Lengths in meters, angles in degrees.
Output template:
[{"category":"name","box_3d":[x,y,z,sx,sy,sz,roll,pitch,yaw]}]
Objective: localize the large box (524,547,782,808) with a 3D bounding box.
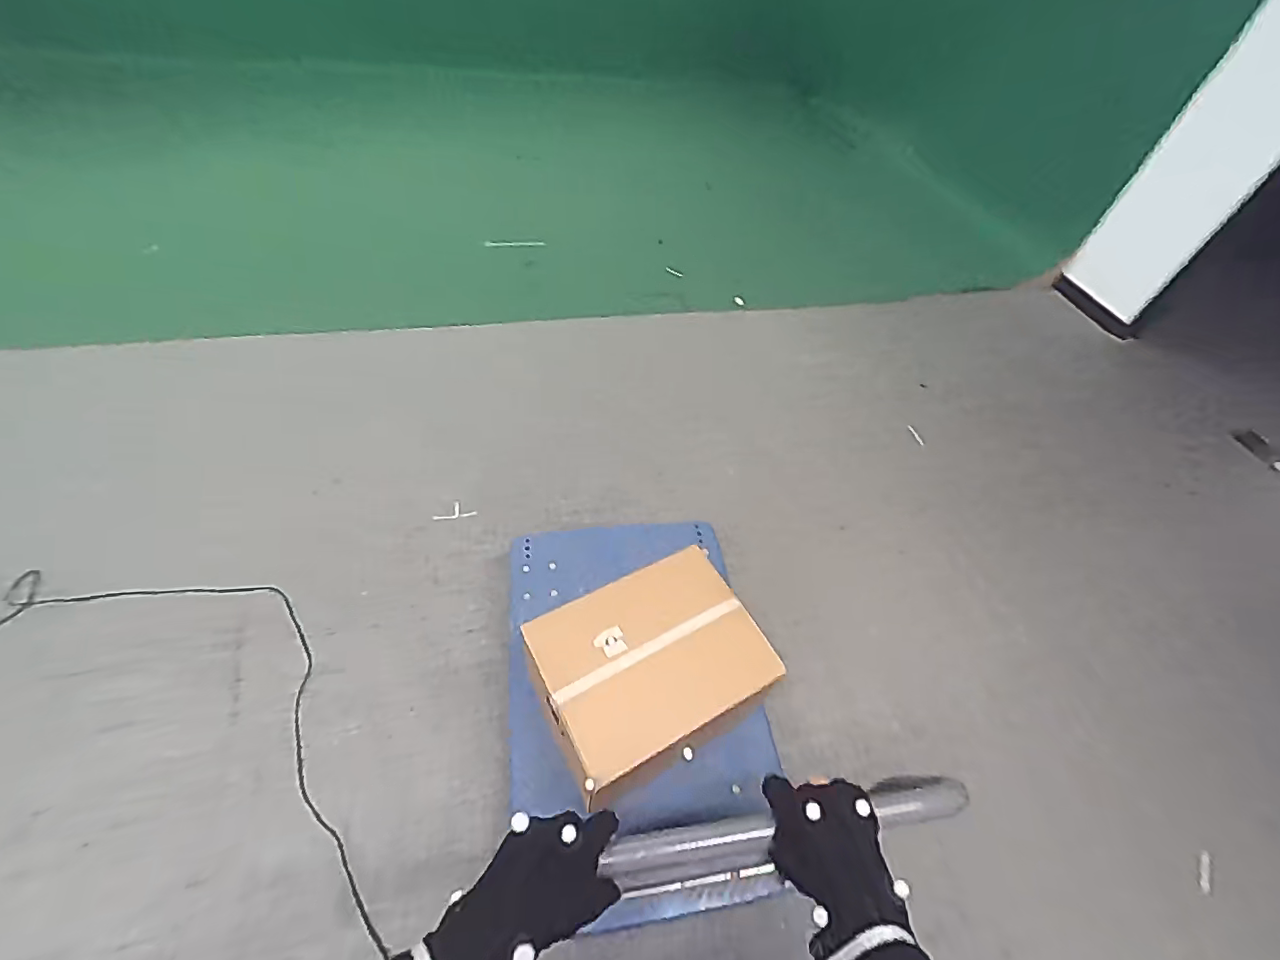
[{"category":"large box","box_3d":[0.013,0.407,1.126,0.408,0.320,0.320,-21,57,-21]}]
